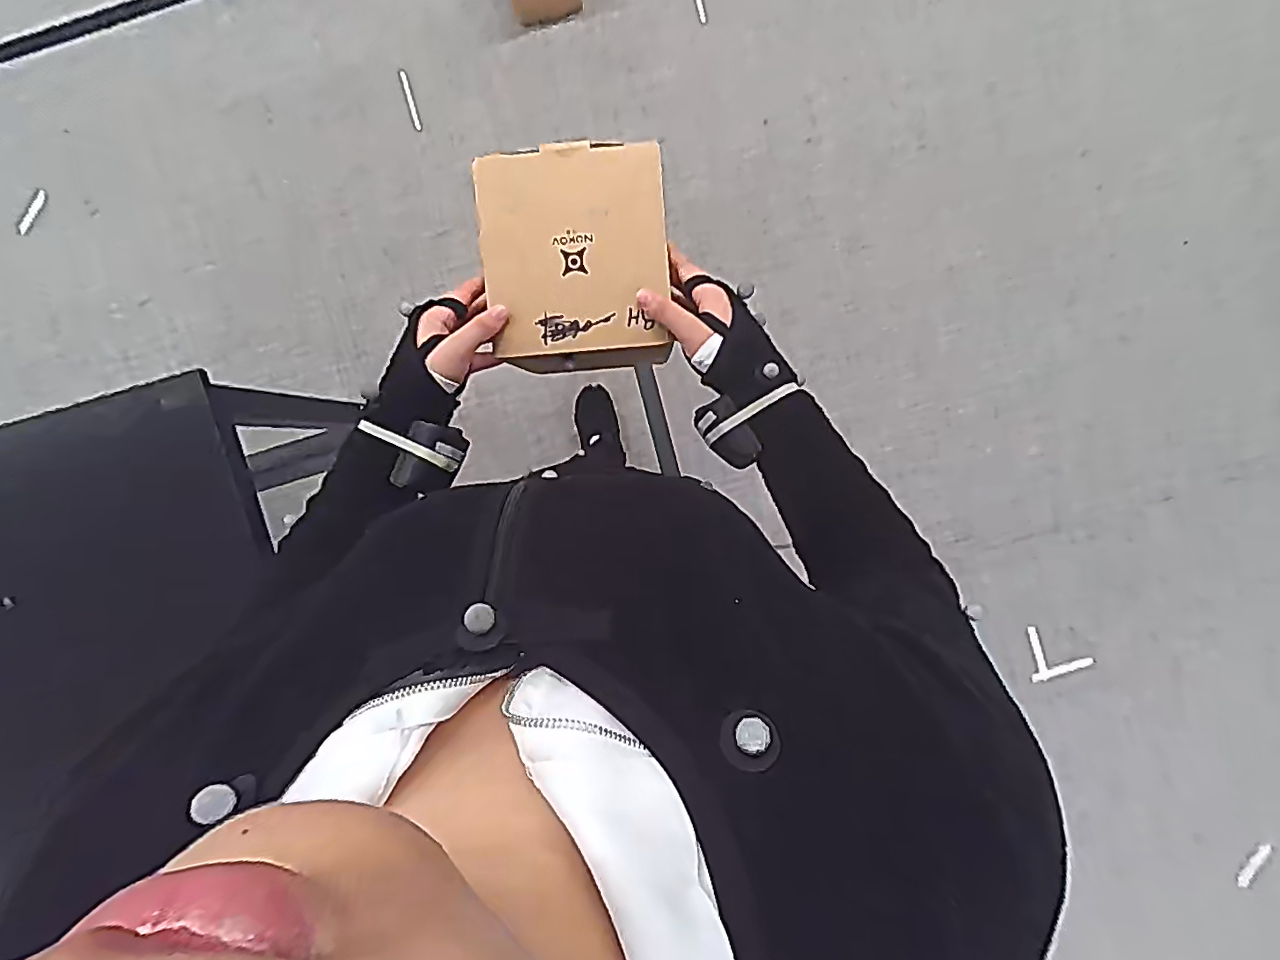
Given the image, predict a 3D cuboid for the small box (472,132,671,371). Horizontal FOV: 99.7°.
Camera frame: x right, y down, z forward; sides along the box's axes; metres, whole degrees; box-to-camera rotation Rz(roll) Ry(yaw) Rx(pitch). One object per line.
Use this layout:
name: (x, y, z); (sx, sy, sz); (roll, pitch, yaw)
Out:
small box: (-0.058, -0.216, 0.555); (0.168, 0.176, 0.179); (-5, 95, 2)

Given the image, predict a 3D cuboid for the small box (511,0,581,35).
small box: (-0.252, -1.271, 1.347); (0.179, 0.176, 0.168); (-16, 92, 3)
